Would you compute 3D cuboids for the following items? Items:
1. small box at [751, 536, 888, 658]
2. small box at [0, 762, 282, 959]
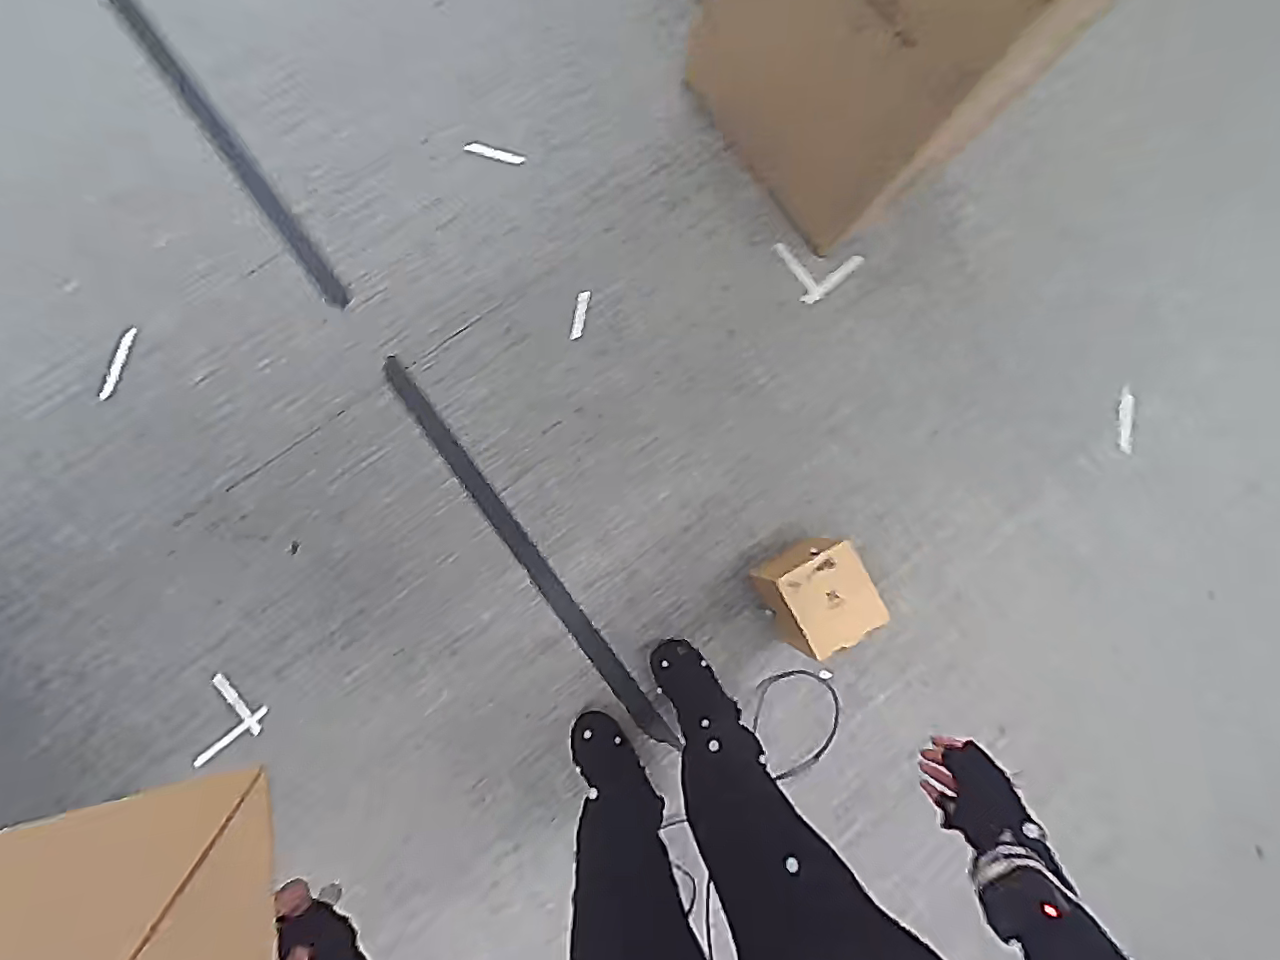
[{"bbox_3d":[0.352,0.225,1.091,0.168,0.176,0.179,-29,89,-7],"label":"small box"},{"bbox_3d":[-0.237,0.252,0.208,0.168,0.179,0.176,-2,115,-35],"label":"small box"}]
